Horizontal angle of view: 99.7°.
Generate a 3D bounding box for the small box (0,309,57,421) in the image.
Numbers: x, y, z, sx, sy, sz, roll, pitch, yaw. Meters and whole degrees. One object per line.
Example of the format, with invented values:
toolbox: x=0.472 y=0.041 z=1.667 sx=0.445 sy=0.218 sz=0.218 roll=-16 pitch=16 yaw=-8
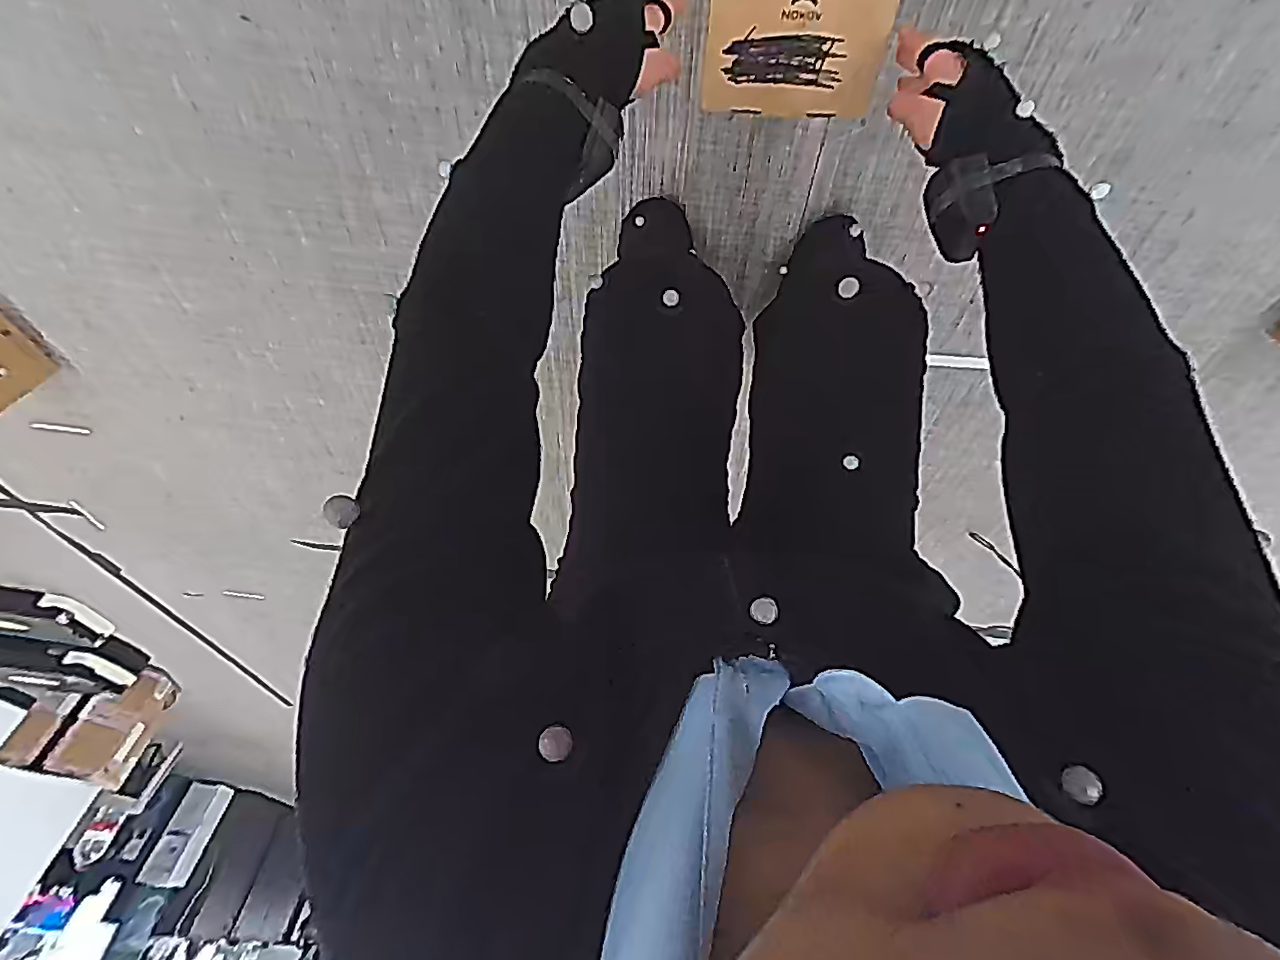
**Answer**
small box: x=-1.329 y=-0.233 z=1.062 sx=0.179 sy=0.176 sz=0.168 roll=2 pitch=138 yaw=8
